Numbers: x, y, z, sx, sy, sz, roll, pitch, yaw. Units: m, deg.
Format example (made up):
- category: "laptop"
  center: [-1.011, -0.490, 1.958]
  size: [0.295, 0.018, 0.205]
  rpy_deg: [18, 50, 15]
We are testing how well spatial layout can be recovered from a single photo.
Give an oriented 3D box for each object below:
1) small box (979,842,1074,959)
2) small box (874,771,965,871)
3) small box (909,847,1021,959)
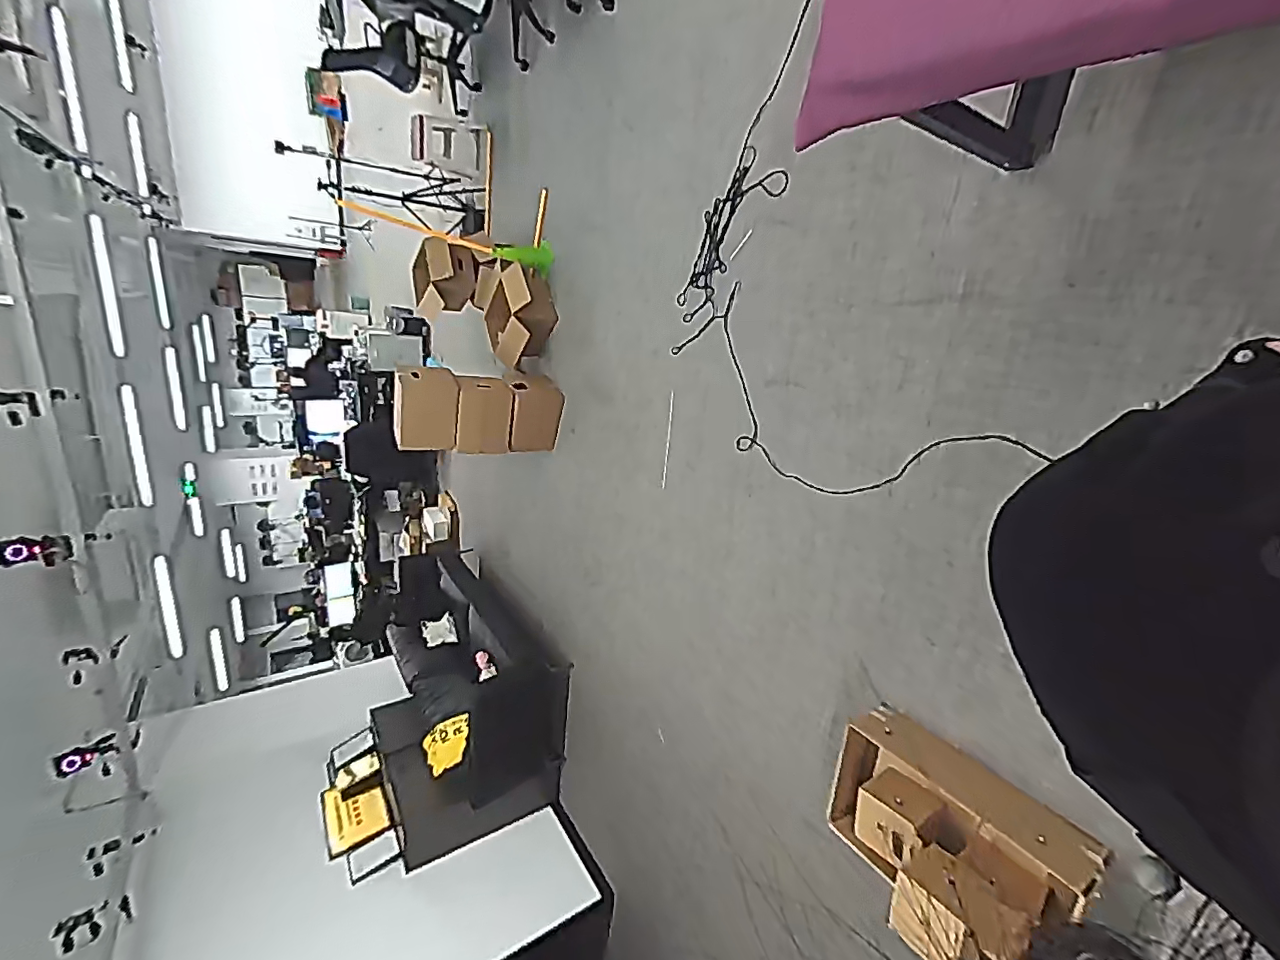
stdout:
- category: "small box"
  center: [0.961, 1.075, 1.378]
  size: [0.179, 0.176, 0.168]
  rpy_deg: [23, 113, 56]
- category: "small box"
  center: [0.821, 0.995, 1.587]
  size: [0.179, 0.176, 0.168]
  rpy_deg: [16, 108, 55]
- category: "small box"
  center: [0.799, 1.057, 1.328]
  size: [0.168, 0.176, 0.179]
  rpy_deg: [21, 111, 57]
